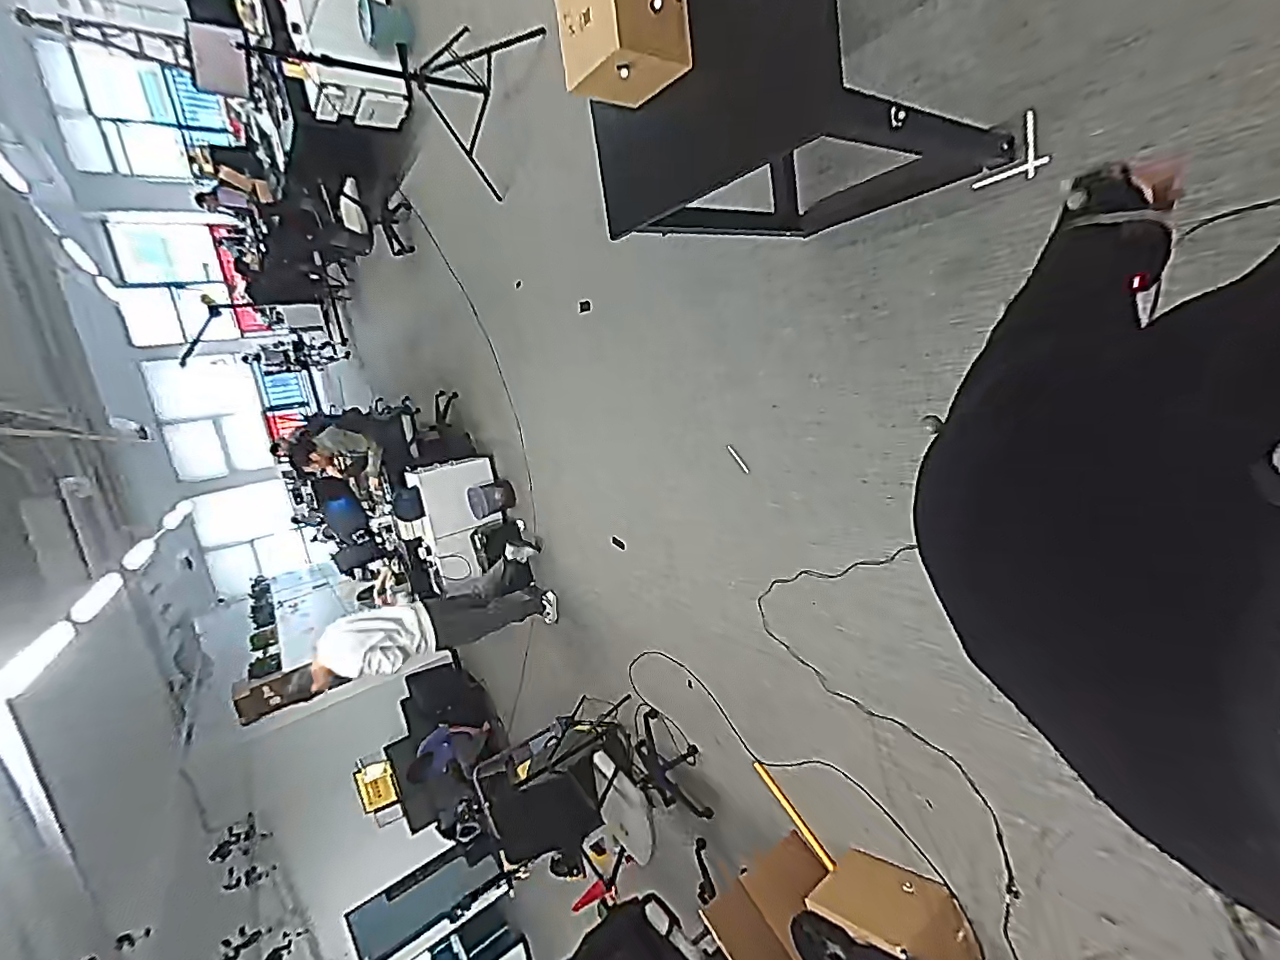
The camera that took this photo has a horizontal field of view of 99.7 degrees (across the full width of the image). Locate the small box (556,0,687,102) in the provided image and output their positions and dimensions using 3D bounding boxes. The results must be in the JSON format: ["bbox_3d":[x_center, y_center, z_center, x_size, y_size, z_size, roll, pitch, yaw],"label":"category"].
[{"bbox_3d":[-0.028,-0.820,0.980,0.179,0.176,0.168,12,113,53],"label":"small box"}]
